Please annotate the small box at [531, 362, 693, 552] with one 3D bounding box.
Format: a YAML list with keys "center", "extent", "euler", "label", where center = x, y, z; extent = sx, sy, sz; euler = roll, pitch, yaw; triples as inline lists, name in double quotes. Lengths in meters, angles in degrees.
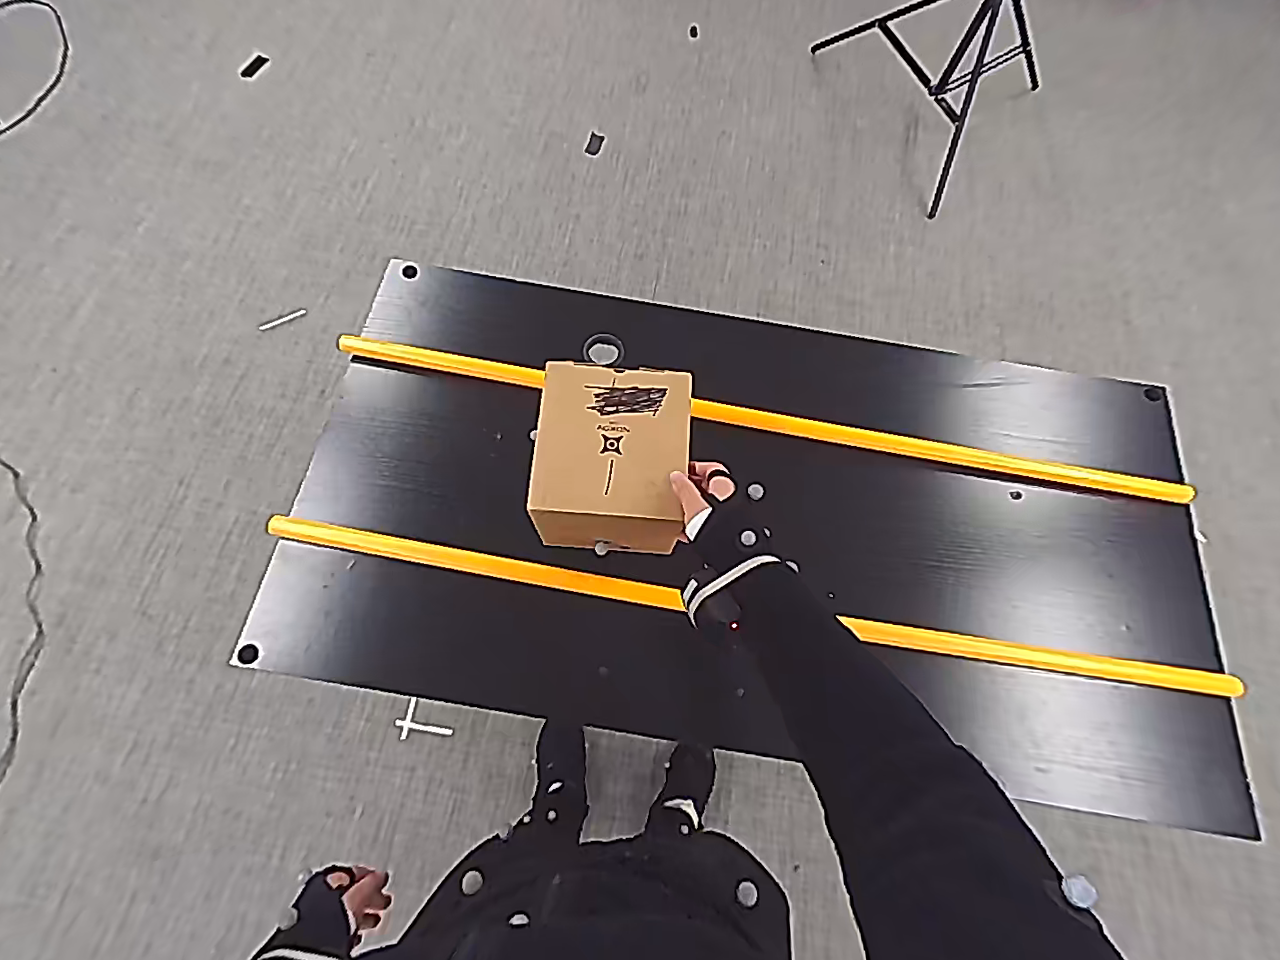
- center: [-0.031, -0.020, 0.662]
  extent: [0.168, 0.176, 0.179]
  euler: [4, 71, -1]
  label: "small box"
